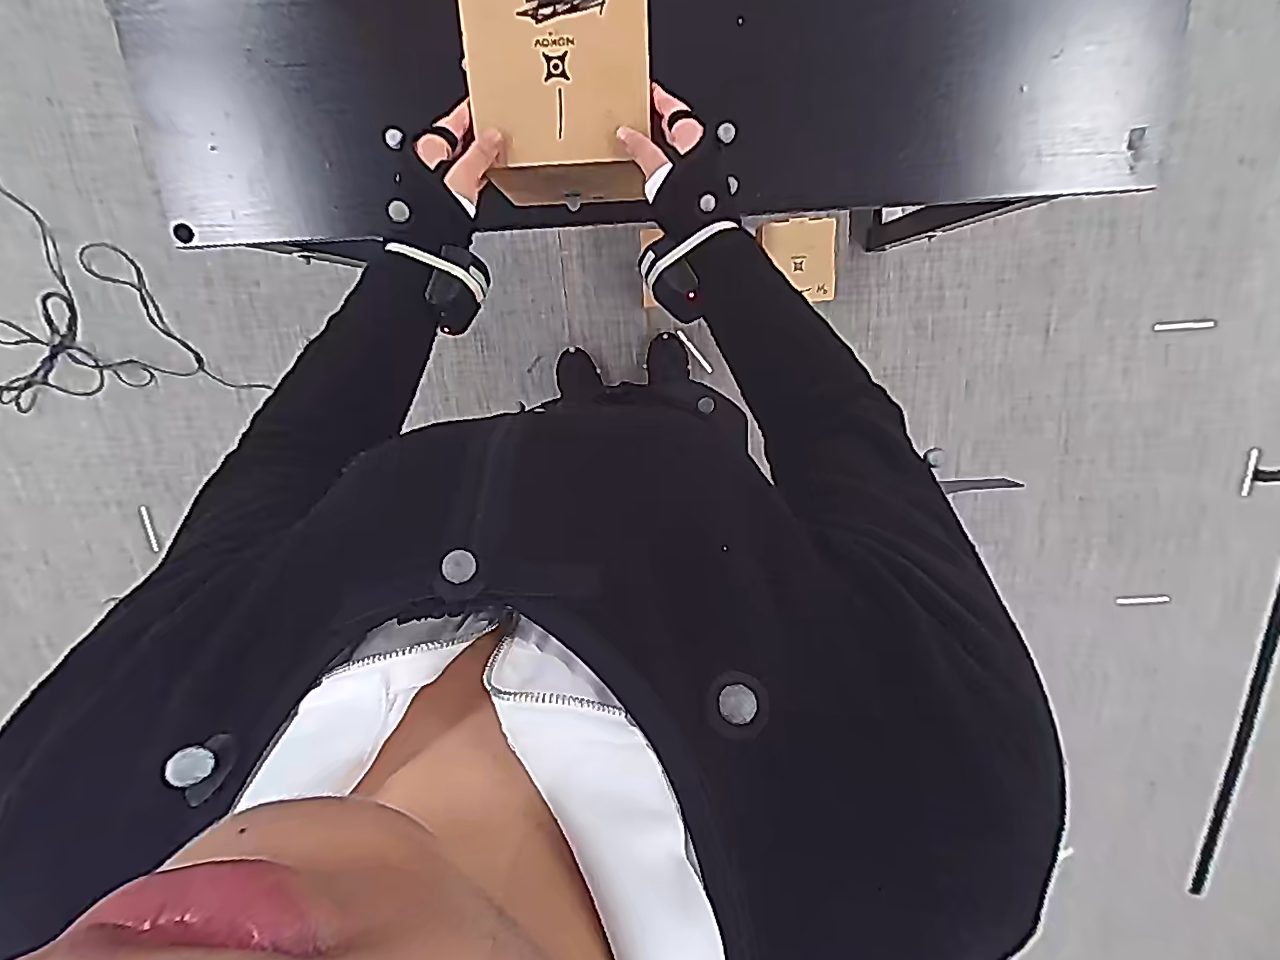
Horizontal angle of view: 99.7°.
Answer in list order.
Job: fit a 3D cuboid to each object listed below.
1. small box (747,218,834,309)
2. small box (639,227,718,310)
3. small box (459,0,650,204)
[{"bbox_3d":[0.351,-0.508,1.286,0.168,0.176,0.179,-4,105,2],"label":"small box"},{"bbox_3d":[0.088,-0.498,1.291,0.179,0.176,0.168,-3,105,2],"label":"small box"},{"bbox_3d":[-0.076,-0.401,0.558,0.168,0.176,0.179,-2,106,1],"label":"small box"}]
